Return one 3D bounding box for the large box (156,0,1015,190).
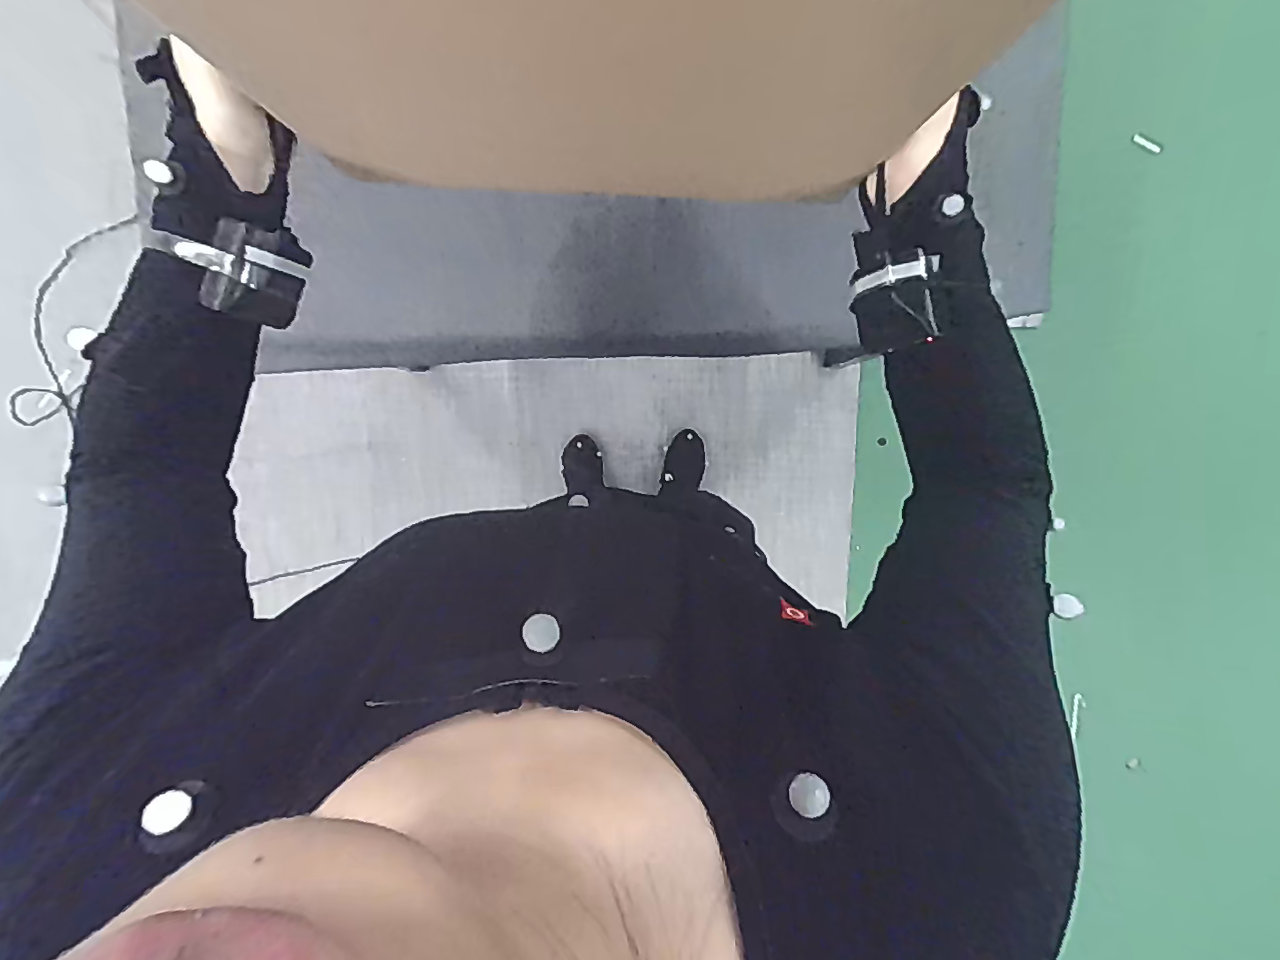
[{"bbox_3d":[-0.028,-0.373,0.284,0.408,0.320,0.320,1,100,-3],"label":"large box"}]
